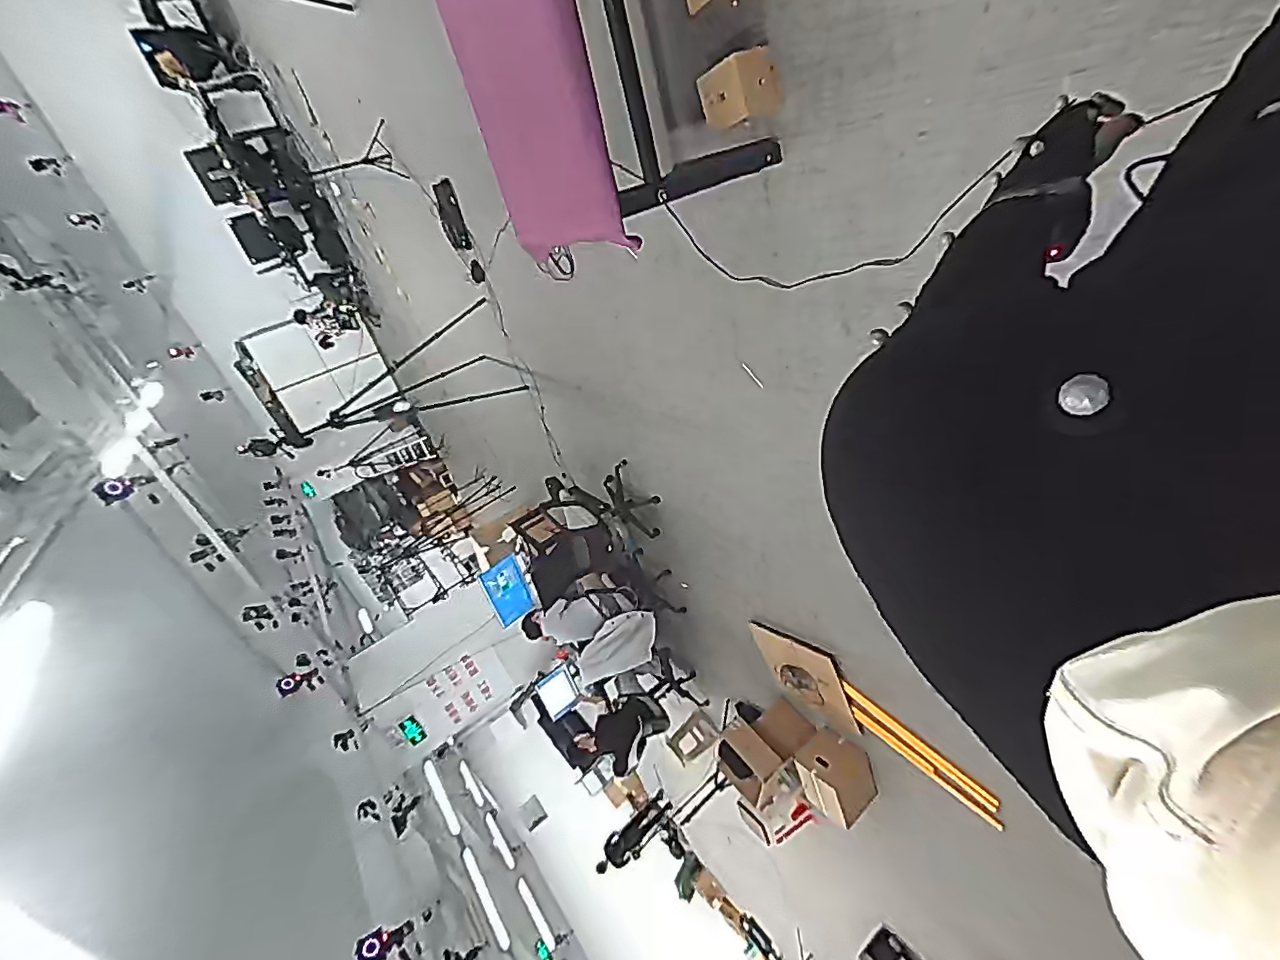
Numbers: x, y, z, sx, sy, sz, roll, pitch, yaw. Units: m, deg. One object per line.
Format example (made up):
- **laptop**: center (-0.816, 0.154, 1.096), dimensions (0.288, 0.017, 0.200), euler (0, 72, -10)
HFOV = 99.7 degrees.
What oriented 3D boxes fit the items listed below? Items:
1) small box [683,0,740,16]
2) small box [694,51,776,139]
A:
- **small box**: center (0.221, -1.468, 1.534), dimensions (0.168, 0.176, 0.179), euler (19, 136, 54)
- **small box**: center (0.303, -1.201, 1.686), dimensions (0.179, 0.176, 0.168), euler (16, 132, 55)
